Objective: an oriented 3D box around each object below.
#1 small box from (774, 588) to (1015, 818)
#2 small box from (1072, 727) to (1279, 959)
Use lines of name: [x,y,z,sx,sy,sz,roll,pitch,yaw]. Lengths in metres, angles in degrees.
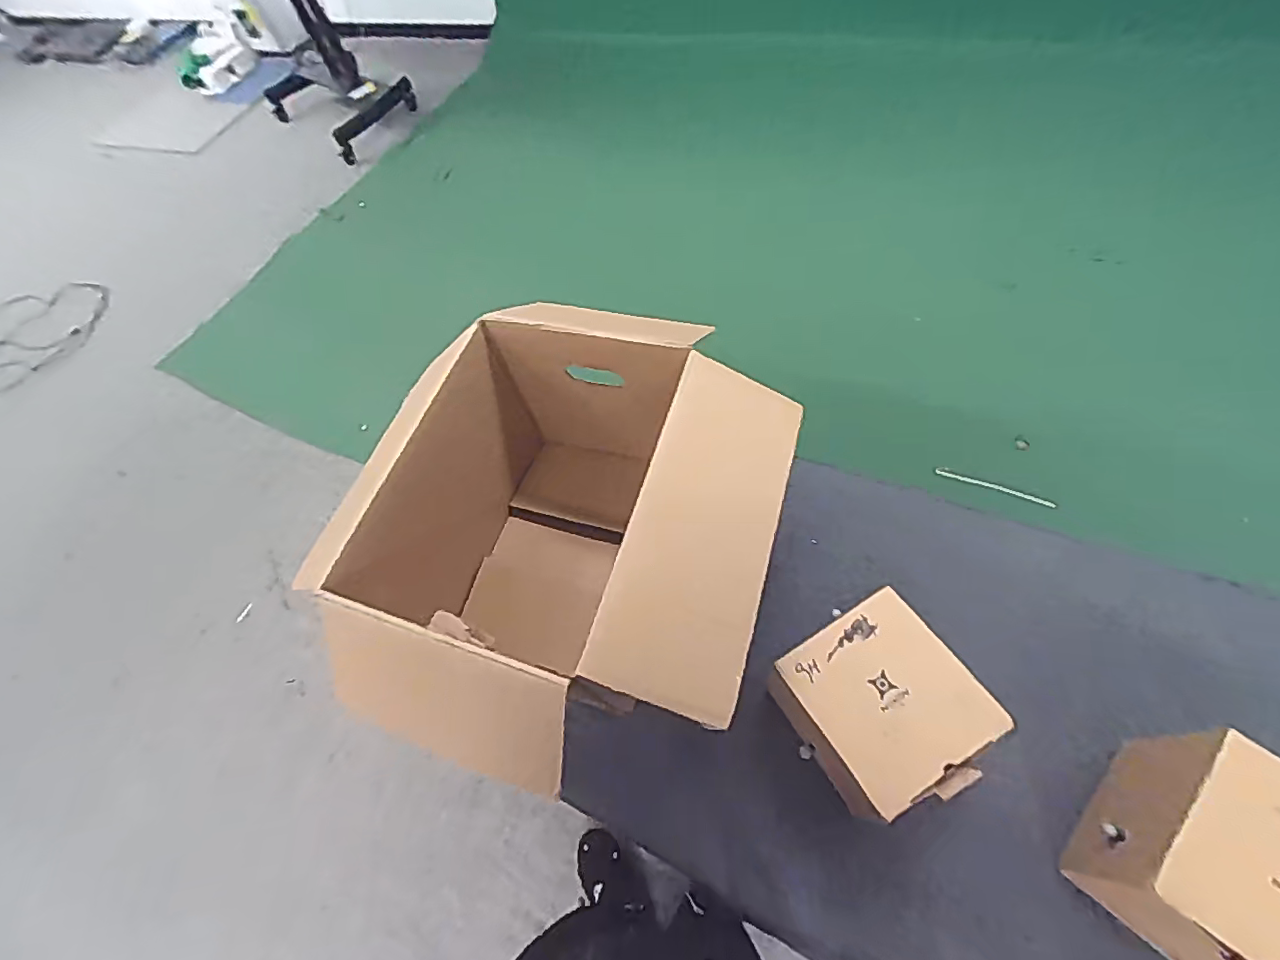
small box: [0.278,0.261,0.638,0.168,0.176,0.179,-30,60,-8]
small box: [0.566,0.372,0.517,0.168,0.176,0.179,37,72,26]
